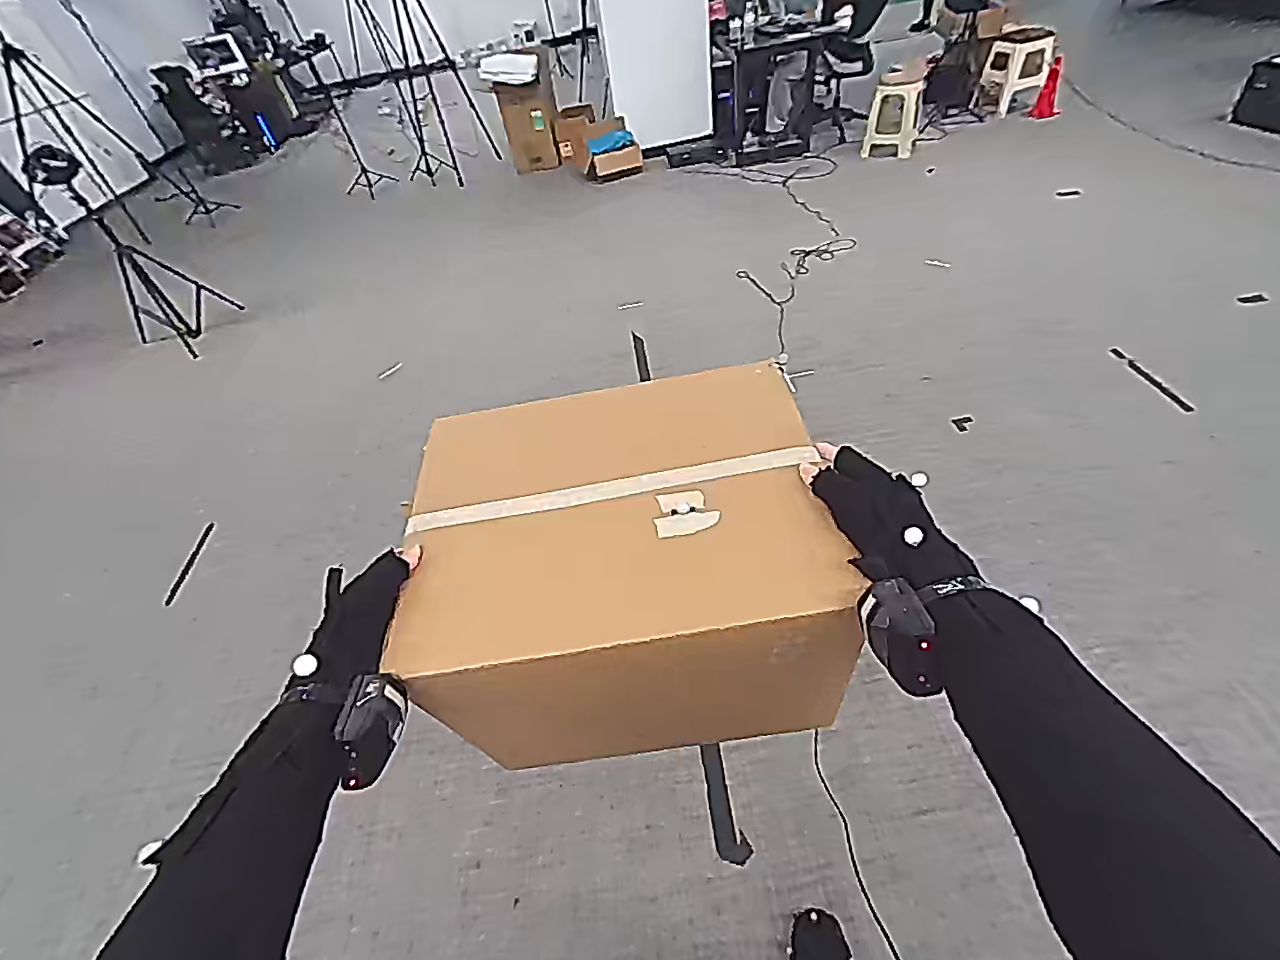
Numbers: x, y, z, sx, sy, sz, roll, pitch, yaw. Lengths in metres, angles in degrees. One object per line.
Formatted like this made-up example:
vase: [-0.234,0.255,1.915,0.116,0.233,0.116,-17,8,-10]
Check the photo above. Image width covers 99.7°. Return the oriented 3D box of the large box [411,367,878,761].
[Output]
large box: [0.004,0.109,0.654,0.408,0.320,0.320,-9,49,2]
